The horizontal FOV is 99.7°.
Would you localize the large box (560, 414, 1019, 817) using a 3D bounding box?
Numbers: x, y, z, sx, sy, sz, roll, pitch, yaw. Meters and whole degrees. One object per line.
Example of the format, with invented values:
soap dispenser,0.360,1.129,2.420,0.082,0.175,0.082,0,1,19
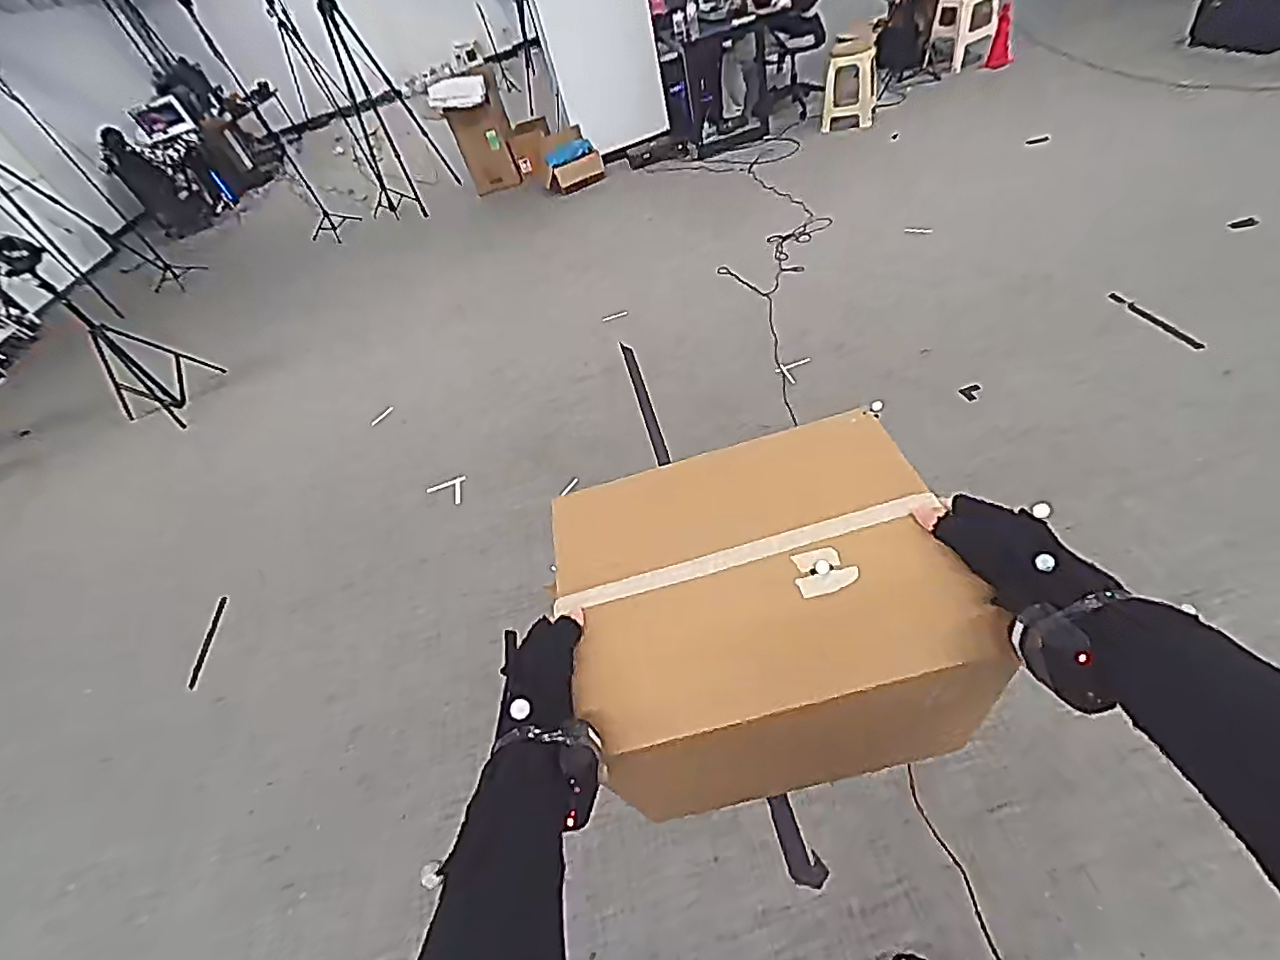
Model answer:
large box,0.147,0.178,0.682,0.408,0.320,0.320,-16,48,3
